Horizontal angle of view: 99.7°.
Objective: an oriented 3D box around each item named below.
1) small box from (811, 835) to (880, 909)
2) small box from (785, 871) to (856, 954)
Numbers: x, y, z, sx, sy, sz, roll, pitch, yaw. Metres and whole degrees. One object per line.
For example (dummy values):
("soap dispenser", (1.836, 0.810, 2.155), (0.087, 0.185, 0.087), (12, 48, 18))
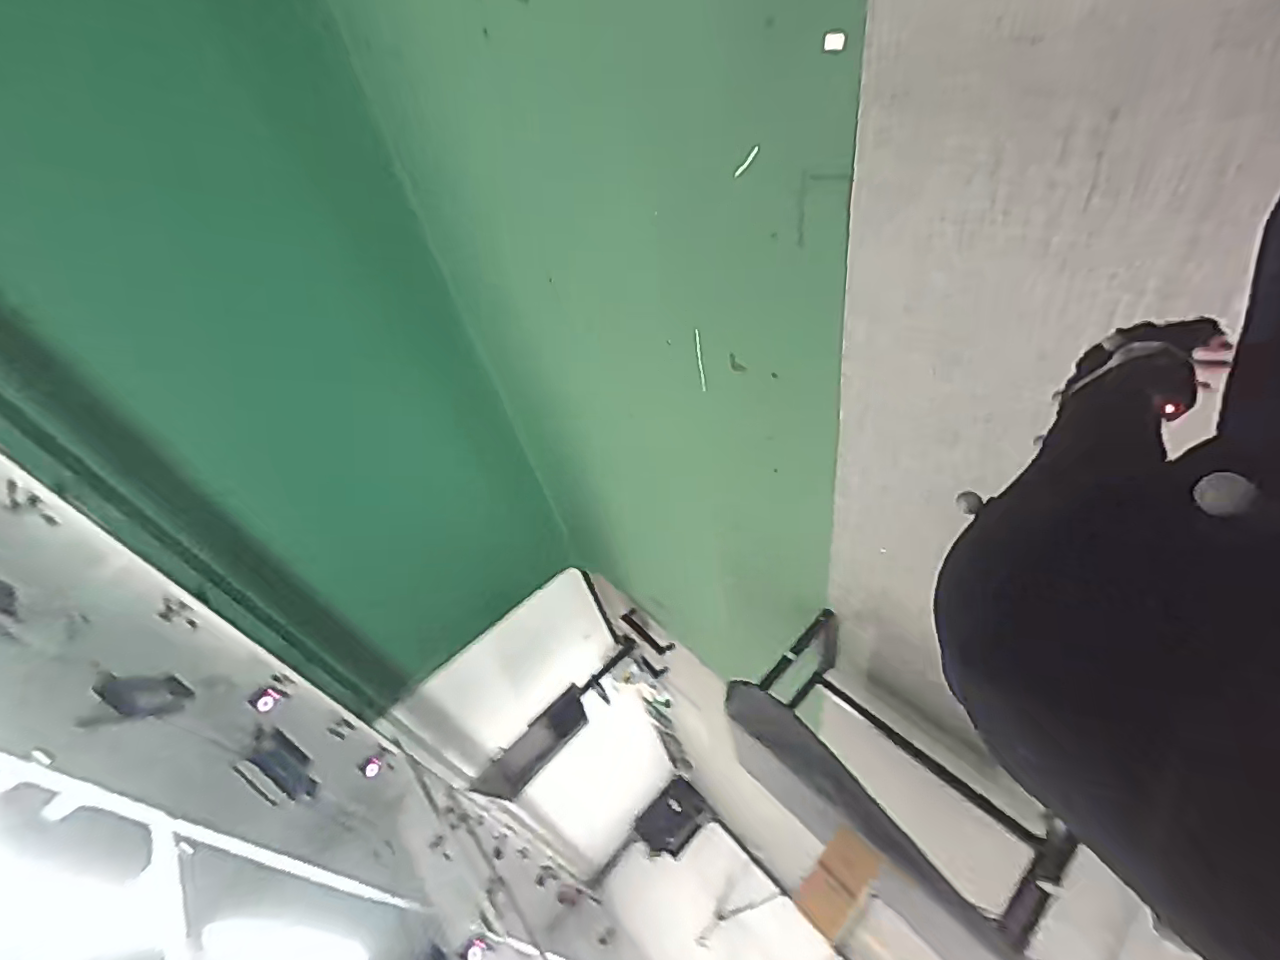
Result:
("small box", (0.773, 1.482, 2.043), (0.179, 0.176, 0.168), (33, 151, 37))
("small box", (0.655, 1.570, 1.973), (0.179, 0.176, 0.168), (35, 152, 38))
